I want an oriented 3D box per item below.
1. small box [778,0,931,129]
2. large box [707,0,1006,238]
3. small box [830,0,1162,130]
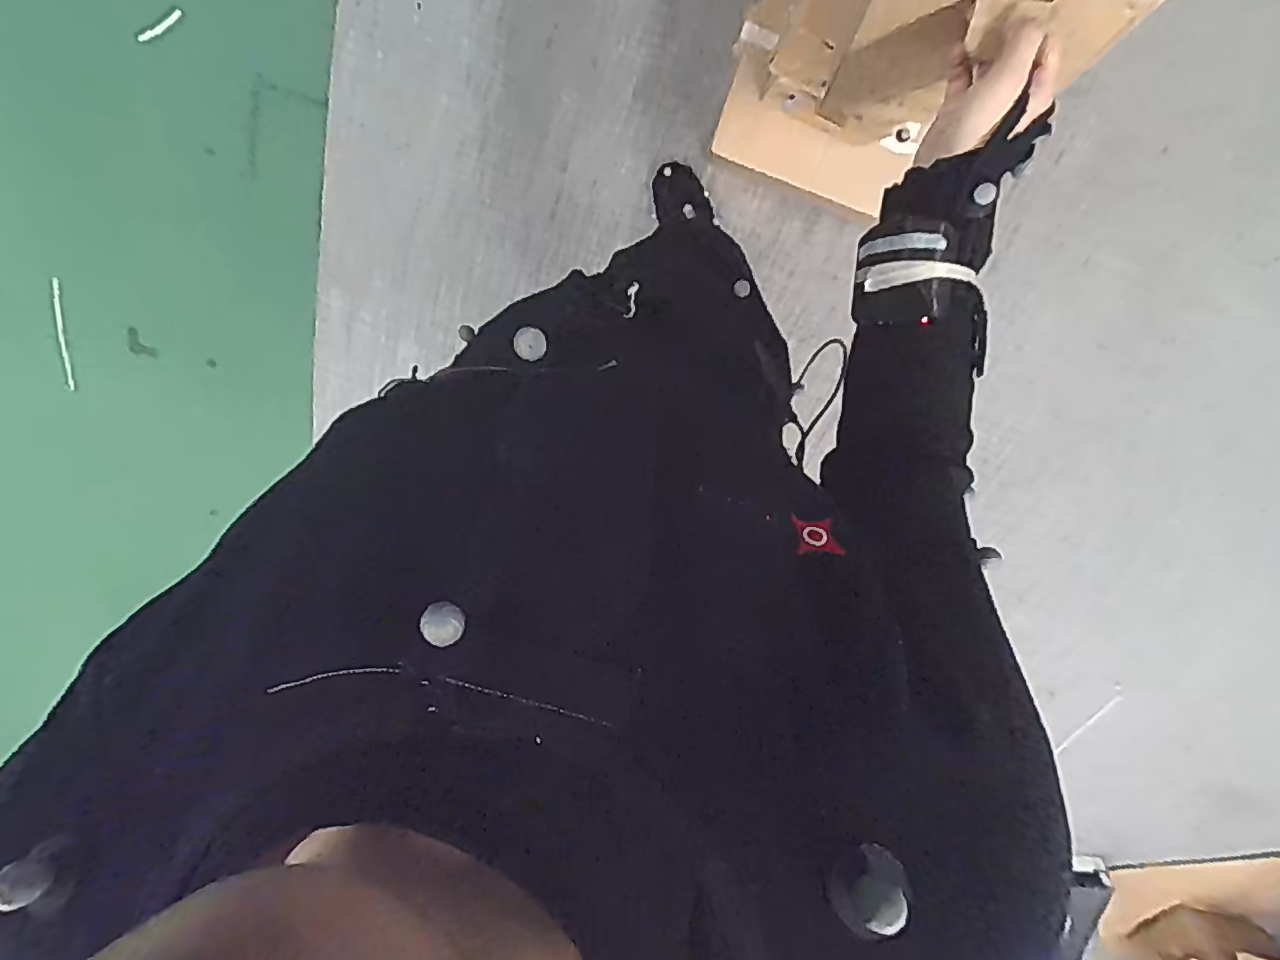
[{"bbox_3d":[0.257,-0.491,0.544,0.168,0.176,0.179,24,117,-7],"label":"small box"},{"bbox_3d":[0.356,-0.642,0.917,0.408,0.320,0.320,18,119,-5],"label":"large box"},{"bbox_3d":[0.251,-0.388,0.385,0.168,0.176,0.179,11,97,1],"label":"small box"}]
